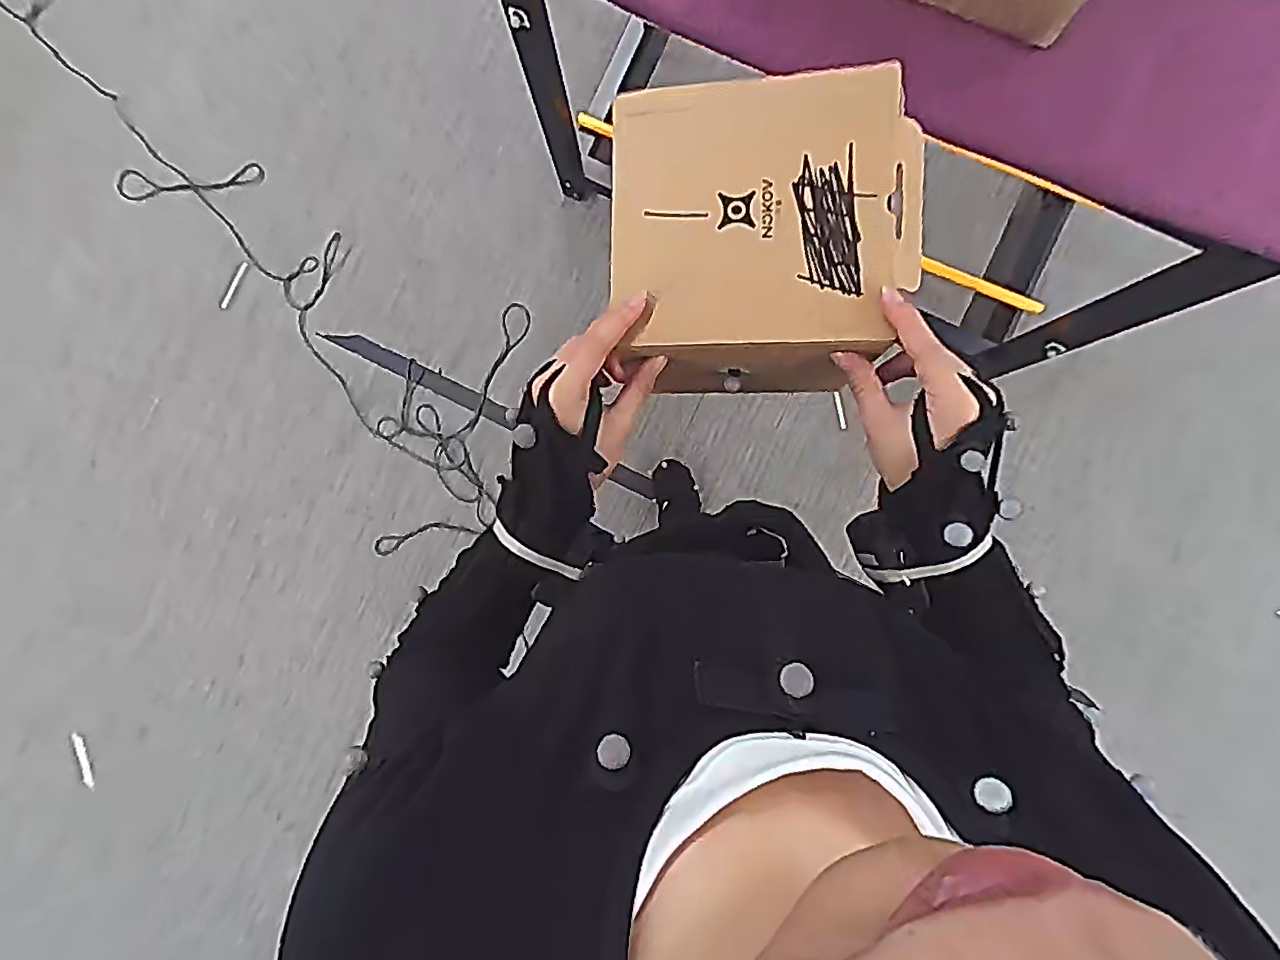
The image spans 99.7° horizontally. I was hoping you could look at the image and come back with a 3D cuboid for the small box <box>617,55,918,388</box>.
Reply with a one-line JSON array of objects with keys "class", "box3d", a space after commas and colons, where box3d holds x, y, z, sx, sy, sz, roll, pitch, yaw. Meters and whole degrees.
[{"class": "small box", "box3d": [0.085, -0.166, 0.403, 0.179, 0.176, 0.168, 1, 89, 9]}]
